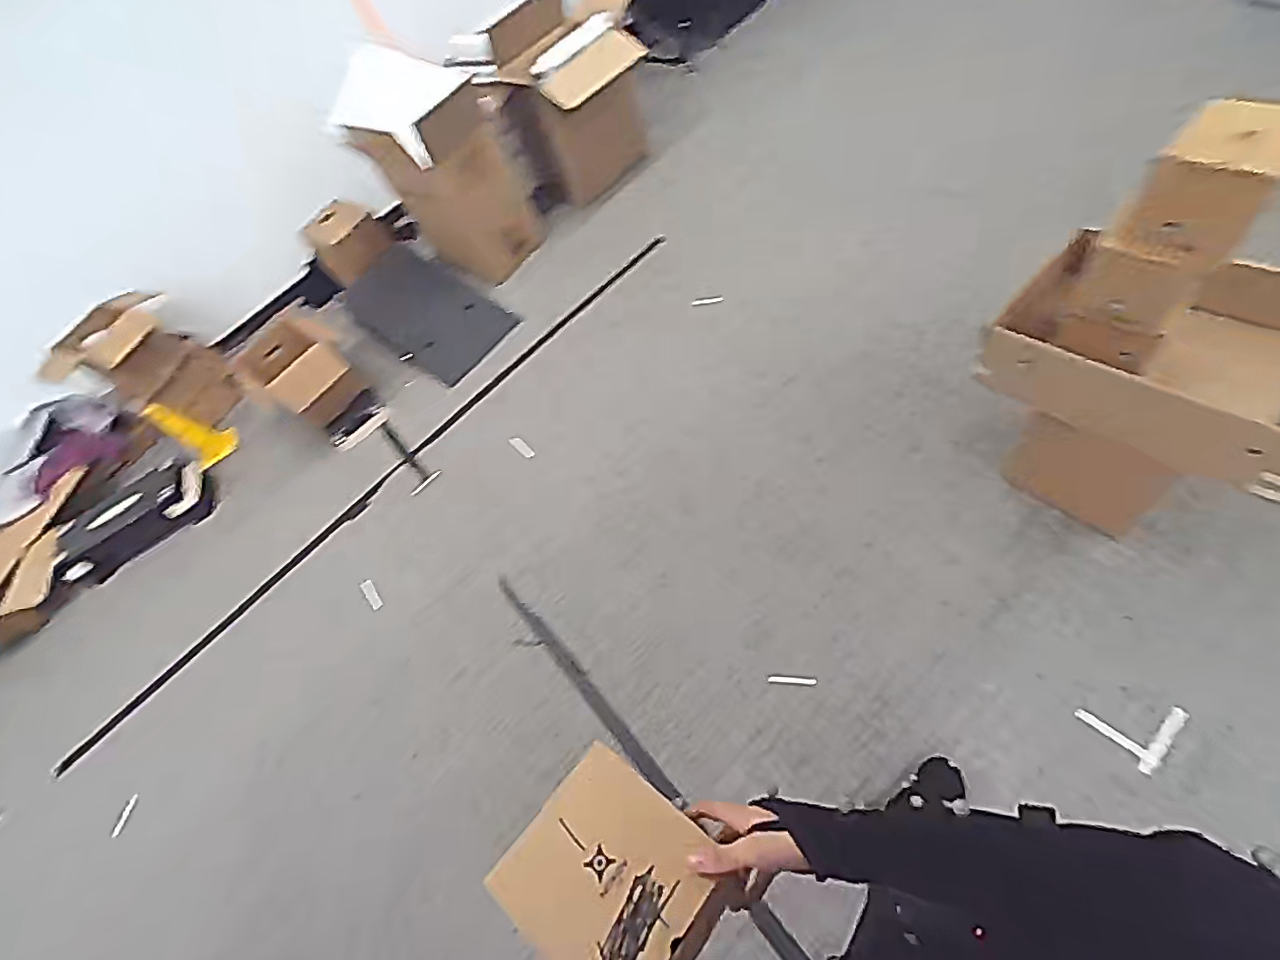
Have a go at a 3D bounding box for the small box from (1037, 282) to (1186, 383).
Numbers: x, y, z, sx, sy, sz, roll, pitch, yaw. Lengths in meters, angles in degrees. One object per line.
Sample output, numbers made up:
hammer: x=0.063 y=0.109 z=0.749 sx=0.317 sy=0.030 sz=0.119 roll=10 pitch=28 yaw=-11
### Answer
small box: x=1.040 y=-0.345 z=1.208 sx=0.179 sy=0.176 sz=0.168 roll=31 pitch=73 yaw=31

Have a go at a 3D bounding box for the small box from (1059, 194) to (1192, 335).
small box: x=0.984 y=-0.427 z=1.077 sx=0.168 sy=0.176 sz=0.179 roll=34 pitch=75 yaw=31

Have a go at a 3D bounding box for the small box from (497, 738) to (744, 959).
small box: x=-0.008 y=0.411 z=0.557 sx=0.179 sy=0.176 sz=0.168 roll=27 pitch=57 yaw=32

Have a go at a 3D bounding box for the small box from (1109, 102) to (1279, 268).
small box: x=0.969 y=-0.505 z=0.932 sx=0.179 sy=0.176 sz=0.168 roll=-45 pitch=58 yaw=-12
